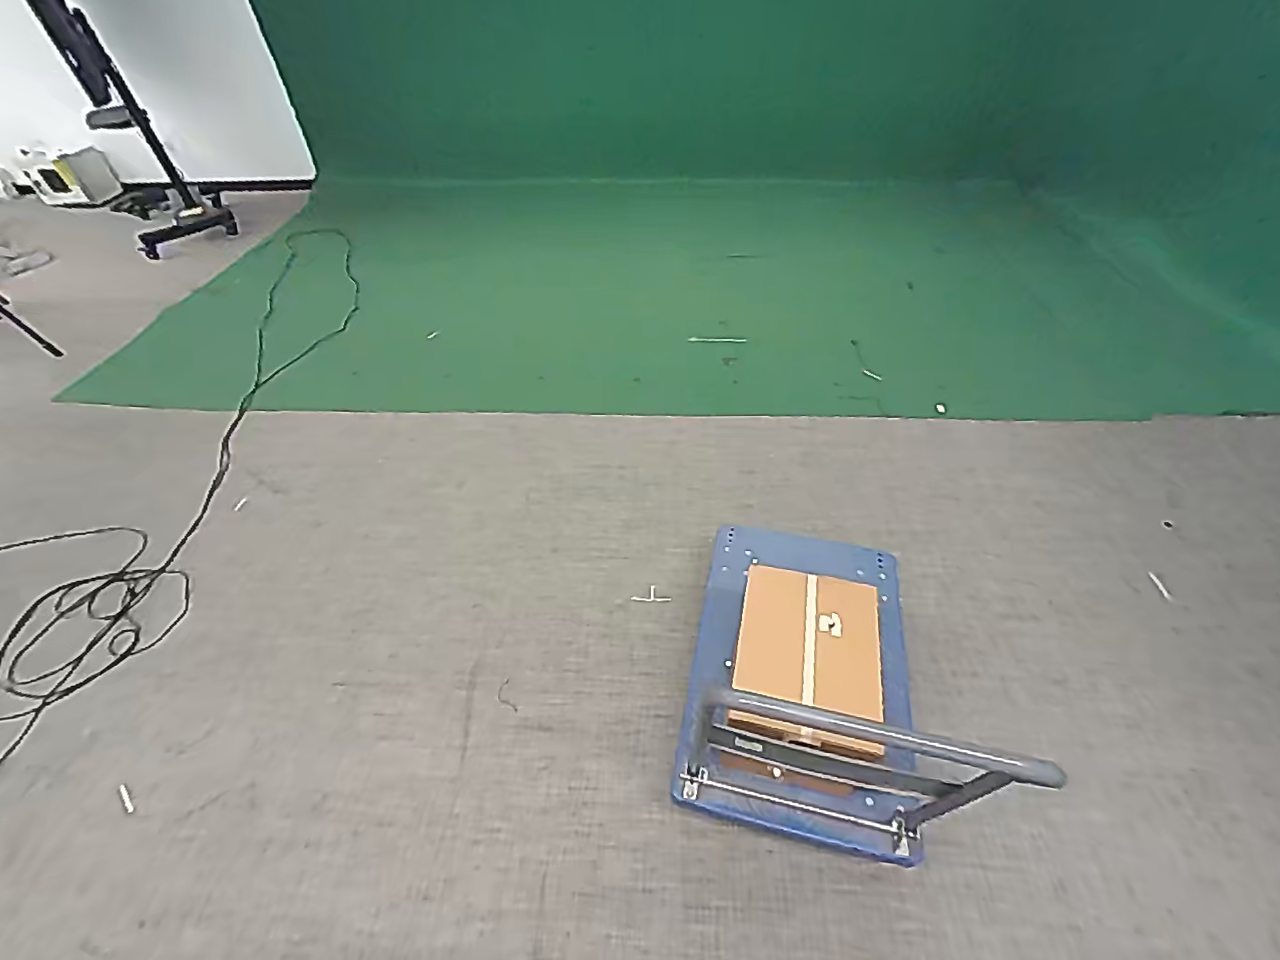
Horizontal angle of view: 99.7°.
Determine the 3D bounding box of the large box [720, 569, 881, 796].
[{"bbox_3d":[0.380,0.493,1.340,0.320,0.320,0.408,9,46,10],"label":"large box"}]
